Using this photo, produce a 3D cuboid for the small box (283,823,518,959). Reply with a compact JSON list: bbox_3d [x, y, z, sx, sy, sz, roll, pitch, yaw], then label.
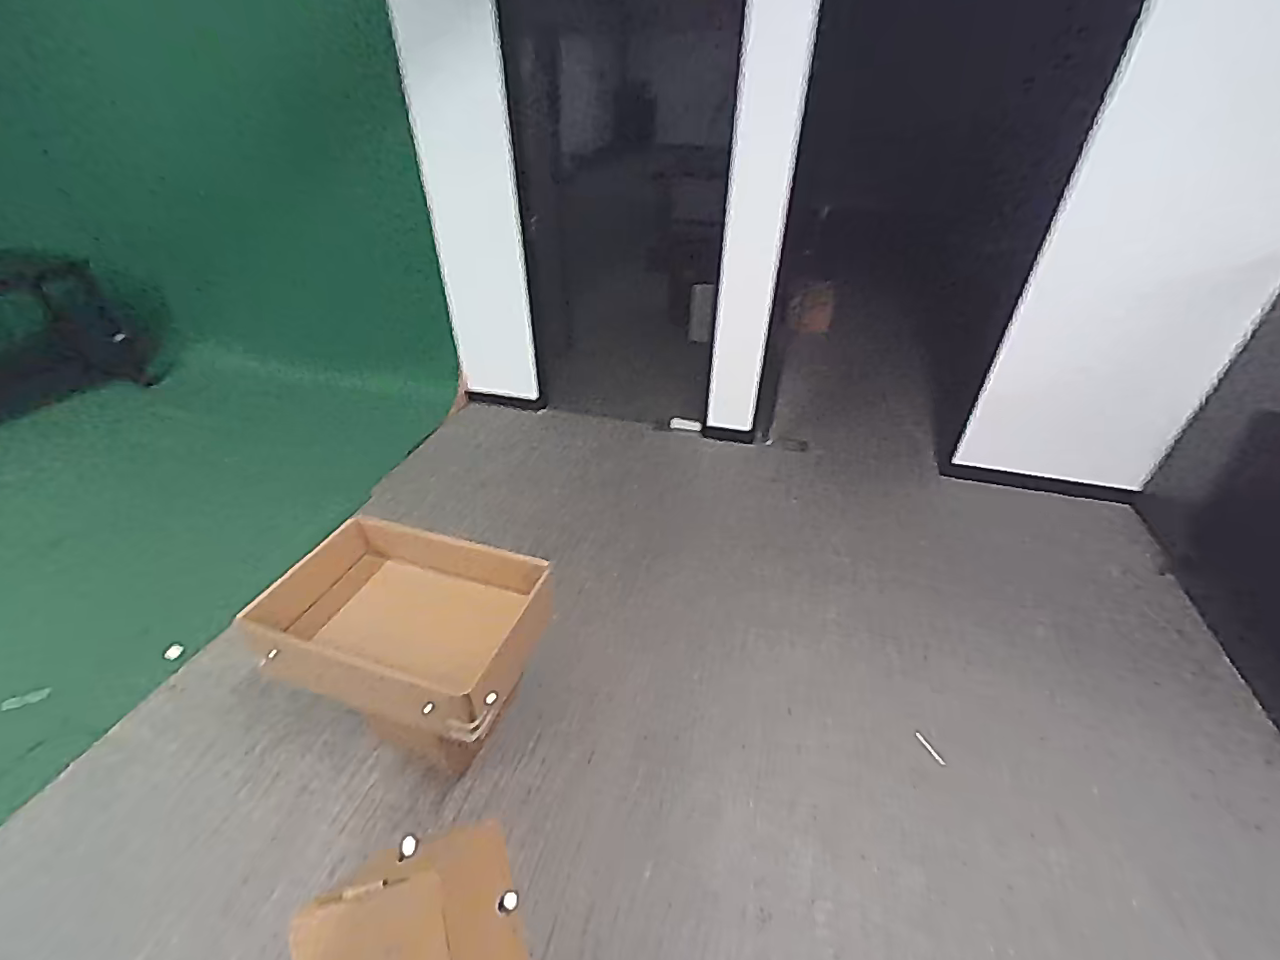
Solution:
[{"bbox_3d":[-0.253,0.509,0.598,0.168,0.176,0.179,-18,73,2],"label":"small box"}]
